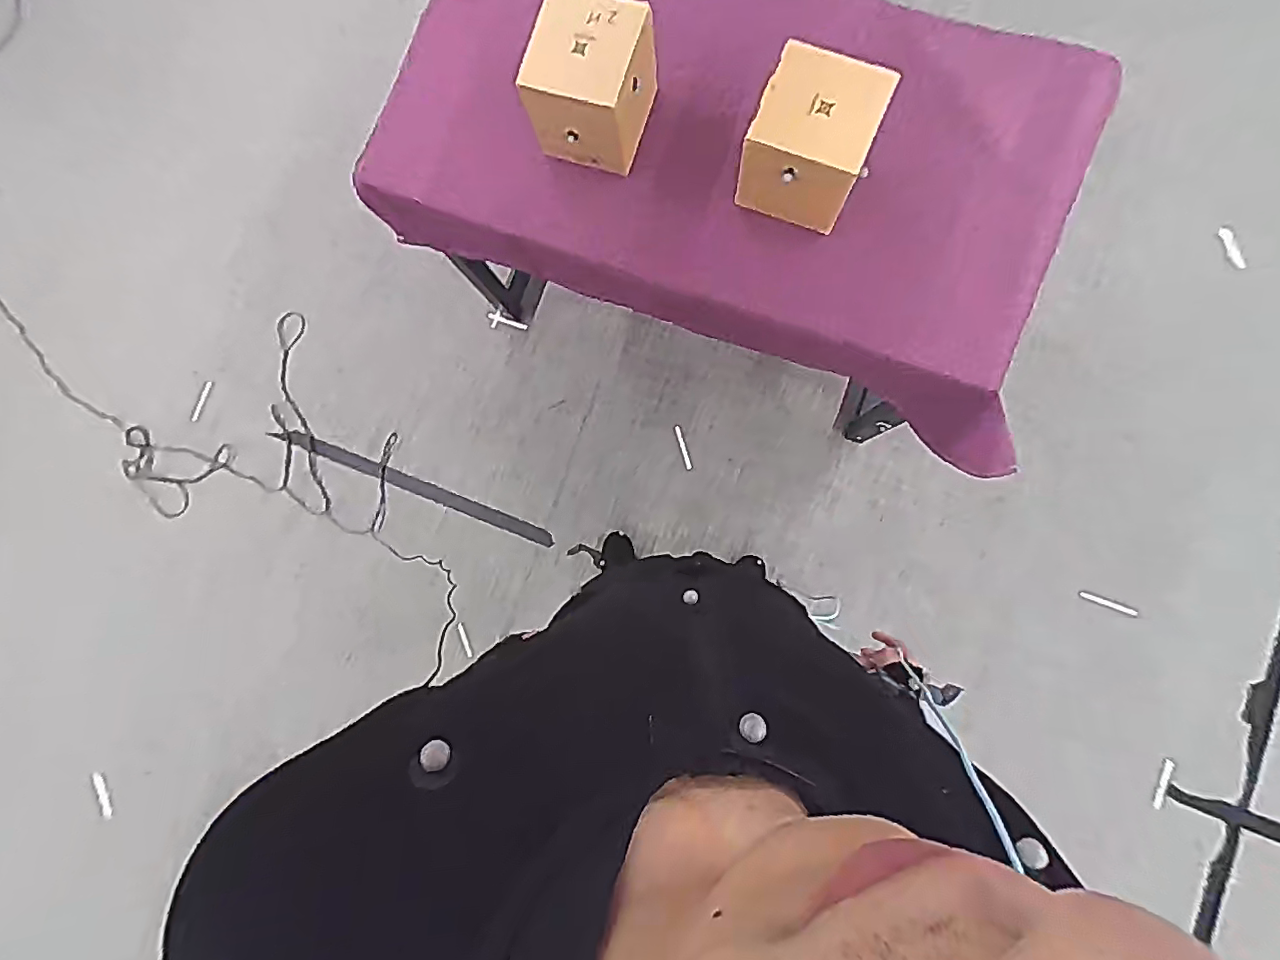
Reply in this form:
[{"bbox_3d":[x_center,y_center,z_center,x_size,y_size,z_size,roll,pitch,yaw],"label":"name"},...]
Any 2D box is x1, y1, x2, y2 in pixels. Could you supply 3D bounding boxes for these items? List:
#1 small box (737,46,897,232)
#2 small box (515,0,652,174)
[{"bbox_3d":[0.269,-0.529,0.866,0.179,0.176,0.168,23,88,7],"label":"small box"},{"bbox_3d":[-0.082,-0.654,0.905,0.168,0.176,0.179,19,87,6],"label":"small box"}]
